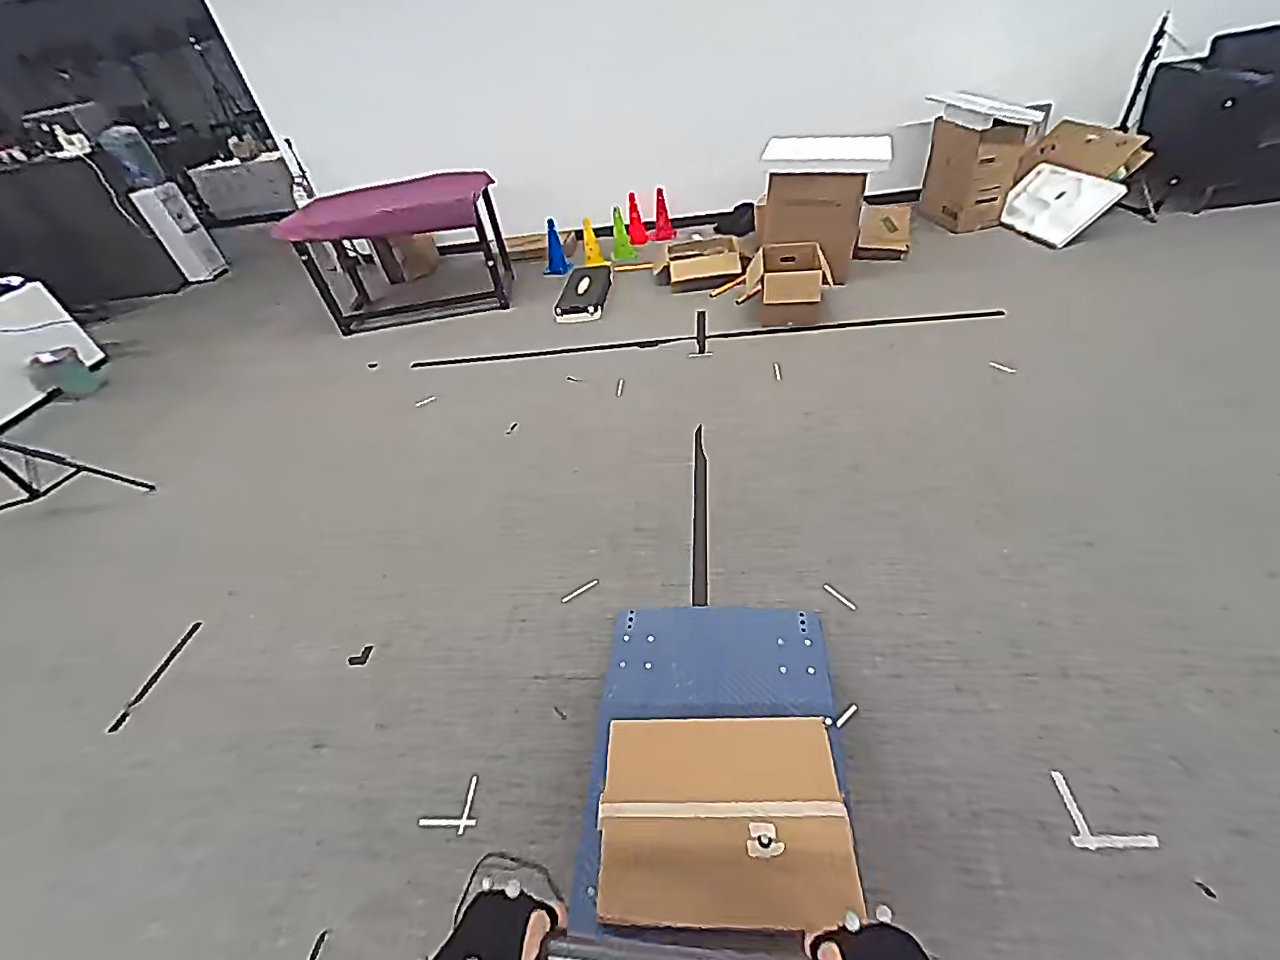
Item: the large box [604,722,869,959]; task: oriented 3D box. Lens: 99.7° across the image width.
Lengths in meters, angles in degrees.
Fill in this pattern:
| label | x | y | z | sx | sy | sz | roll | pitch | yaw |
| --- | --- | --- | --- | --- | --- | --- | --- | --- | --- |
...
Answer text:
| label | x | y | z | sx | sy | sz | roll | pitch | yaw |
| --- | --- | --- | --- | --- | --- | --- | --- | --- | --- |
| large box | 0.157 | 0.679 | 1.012 | 0.408 | 0.320 | 0.320 | -3 | 42 | 5 |
